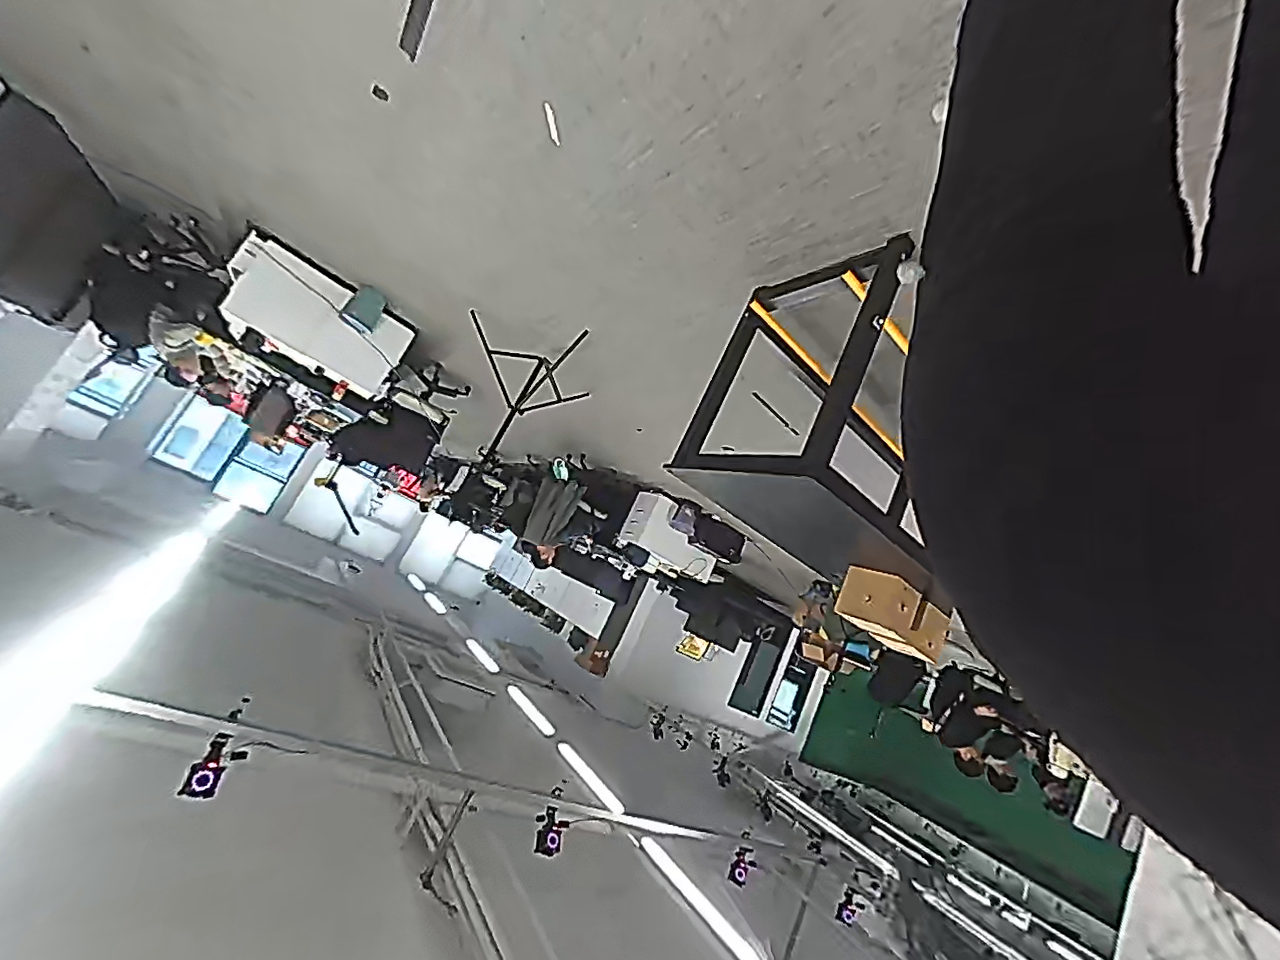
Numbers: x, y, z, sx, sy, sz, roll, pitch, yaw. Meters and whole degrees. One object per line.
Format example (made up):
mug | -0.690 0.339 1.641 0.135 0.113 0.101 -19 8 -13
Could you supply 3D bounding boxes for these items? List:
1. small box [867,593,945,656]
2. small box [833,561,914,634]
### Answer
small box | 0.942 0.492 1.905 0.179 0.176 0.168 34 165 -30
small box | 0.777 0.382 1.783 0.168 0.176 0.179 33 166 -31
